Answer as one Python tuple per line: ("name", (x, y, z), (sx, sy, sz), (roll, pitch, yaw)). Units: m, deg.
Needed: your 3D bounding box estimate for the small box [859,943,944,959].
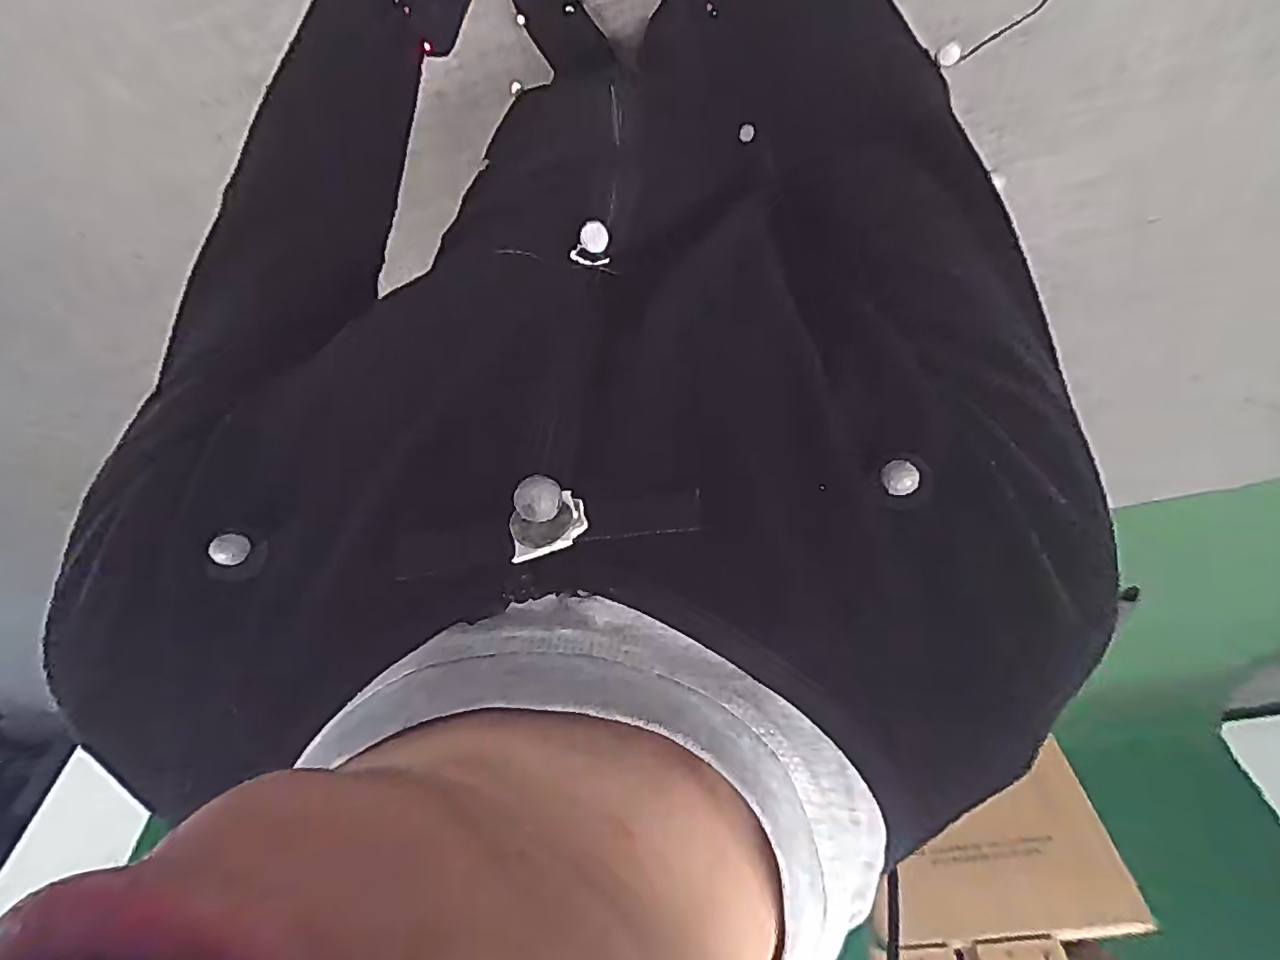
("small box", (0.584, 1.114, 1.163), (0.168, 0.176, 0.179), (-11, 134, 6))
